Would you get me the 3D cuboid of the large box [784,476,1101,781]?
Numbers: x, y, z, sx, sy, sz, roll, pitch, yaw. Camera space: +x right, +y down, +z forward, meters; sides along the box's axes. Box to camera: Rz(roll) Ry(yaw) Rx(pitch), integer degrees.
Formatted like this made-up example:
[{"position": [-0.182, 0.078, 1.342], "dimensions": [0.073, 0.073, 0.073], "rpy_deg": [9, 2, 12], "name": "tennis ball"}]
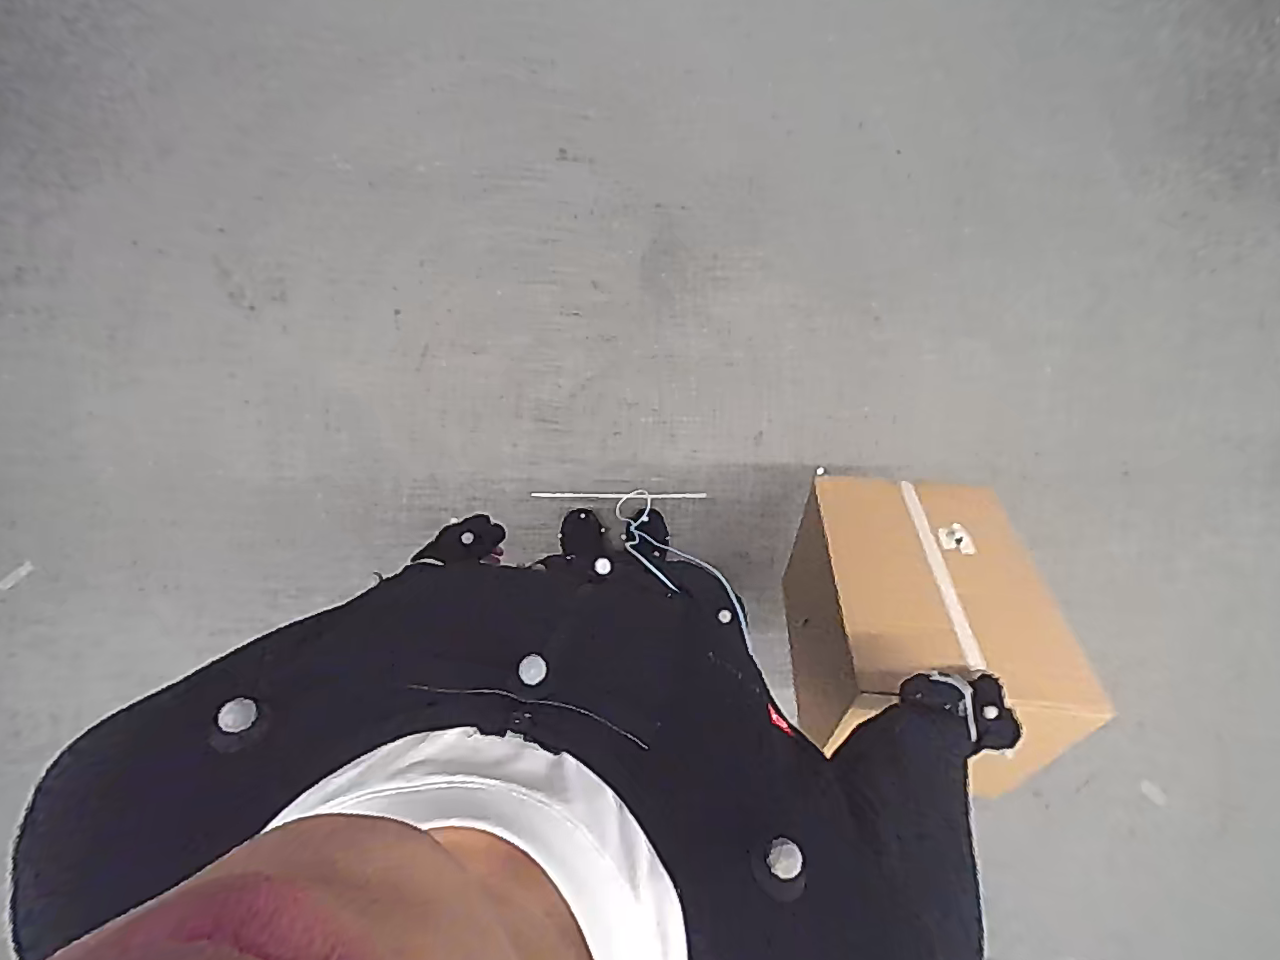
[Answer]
[{"position": [0.447, 0.245, 0.931], "dimensions": [0.320, 0.408, 0.320], "rpy_deg": [5, 133, 3], "name": "large box"}]
